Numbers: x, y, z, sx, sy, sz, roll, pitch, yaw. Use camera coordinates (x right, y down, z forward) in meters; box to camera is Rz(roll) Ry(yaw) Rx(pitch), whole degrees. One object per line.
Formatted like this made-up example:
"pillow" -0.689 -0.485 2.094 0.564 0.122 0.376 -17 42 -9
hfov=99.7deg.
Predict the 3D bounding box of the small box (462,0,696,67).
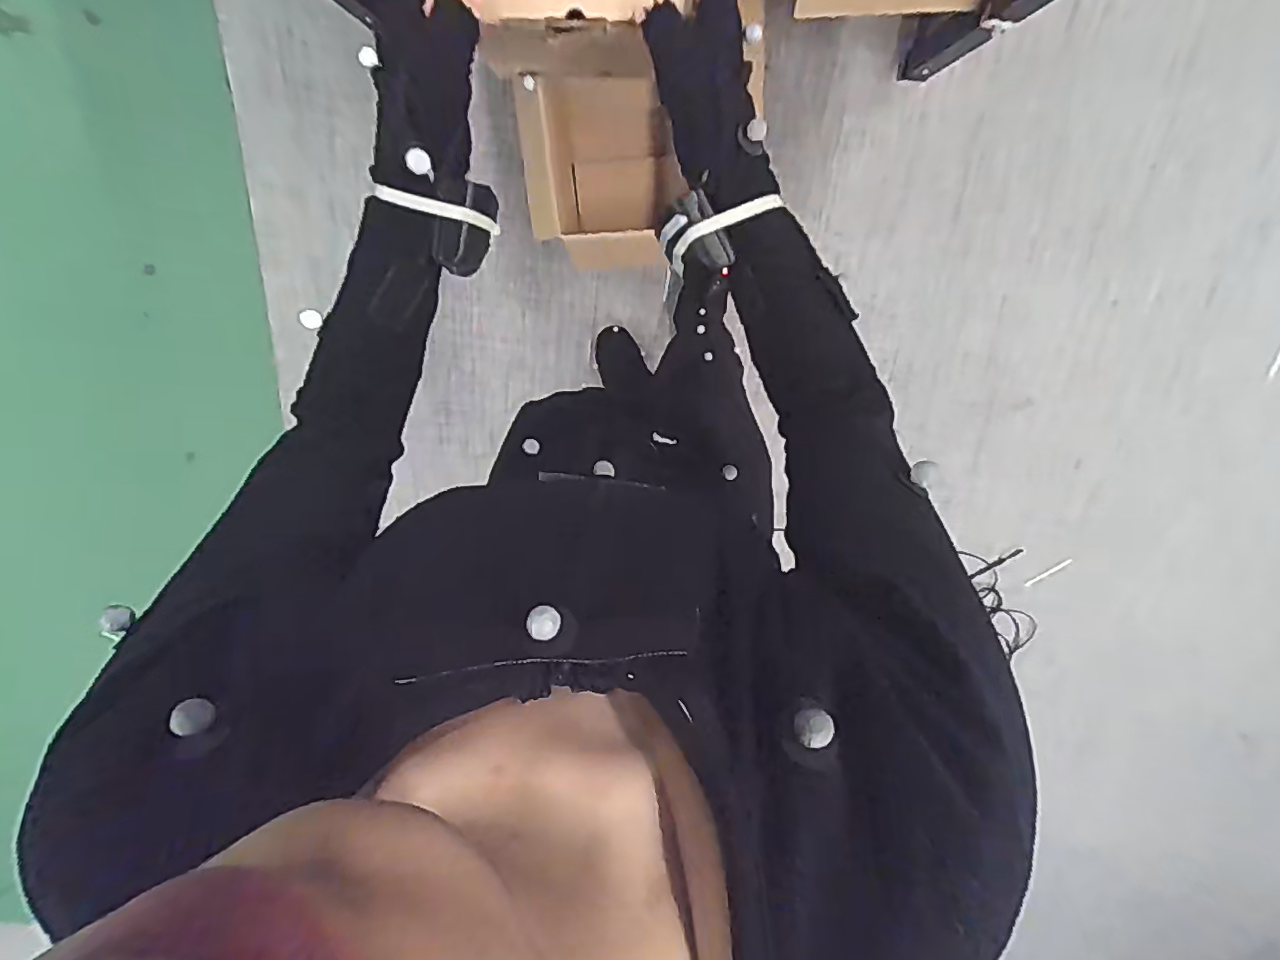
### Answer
"small box" -0.044 -0.436 0.409 0.168 0.176 0.179 -2 116 -2
